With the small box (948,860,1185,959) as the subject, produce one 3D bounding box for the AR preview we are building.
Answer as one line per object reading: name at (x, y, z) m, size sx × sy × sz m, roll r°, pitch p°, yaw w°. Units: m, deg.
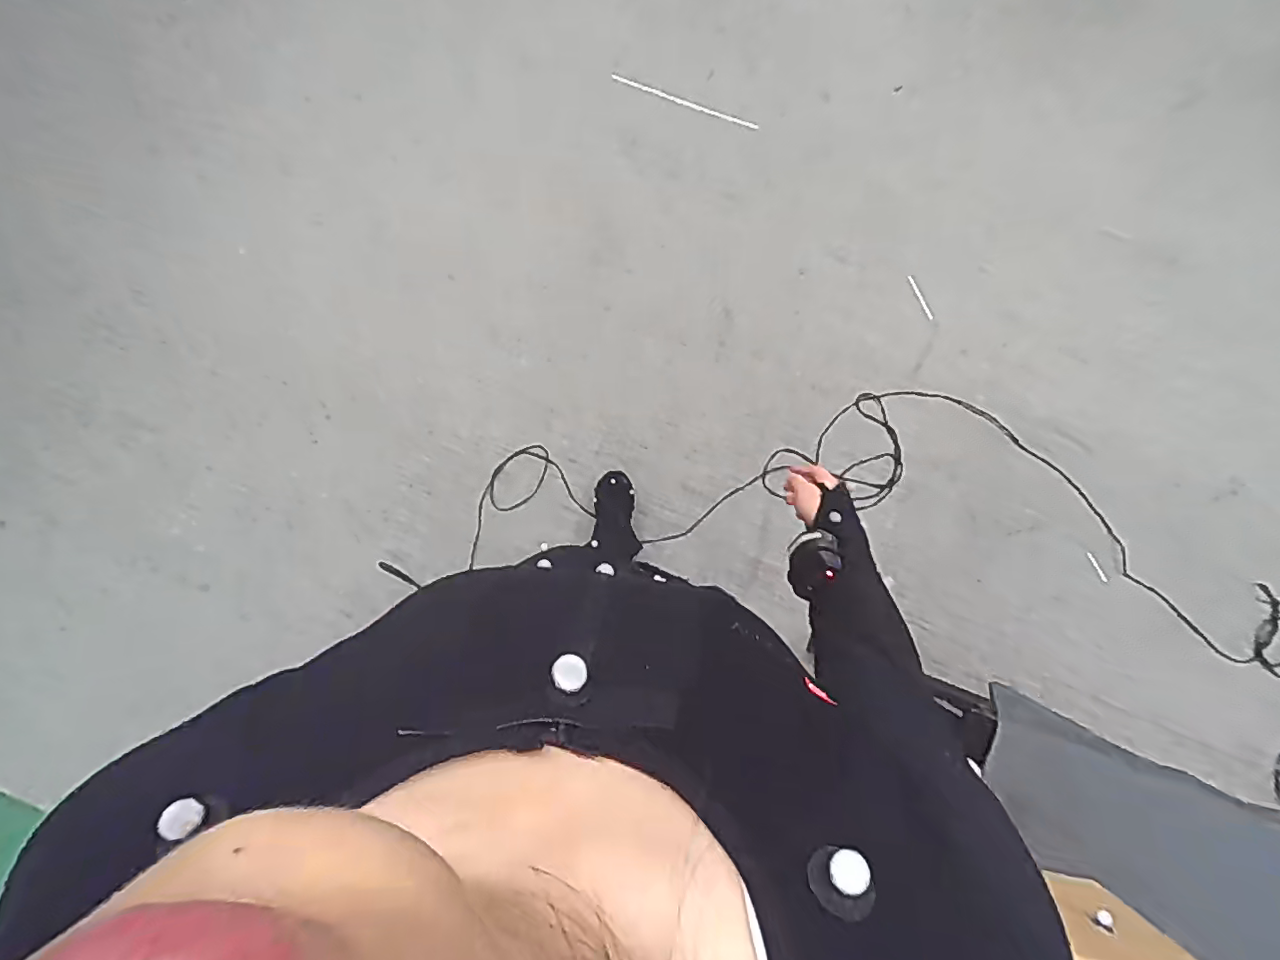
small box at (0.499, 0.585, 0.631) m, size 0.179 × 0.176 × 0.168 m, roll 9°, pitch 84°, yaw 1°
